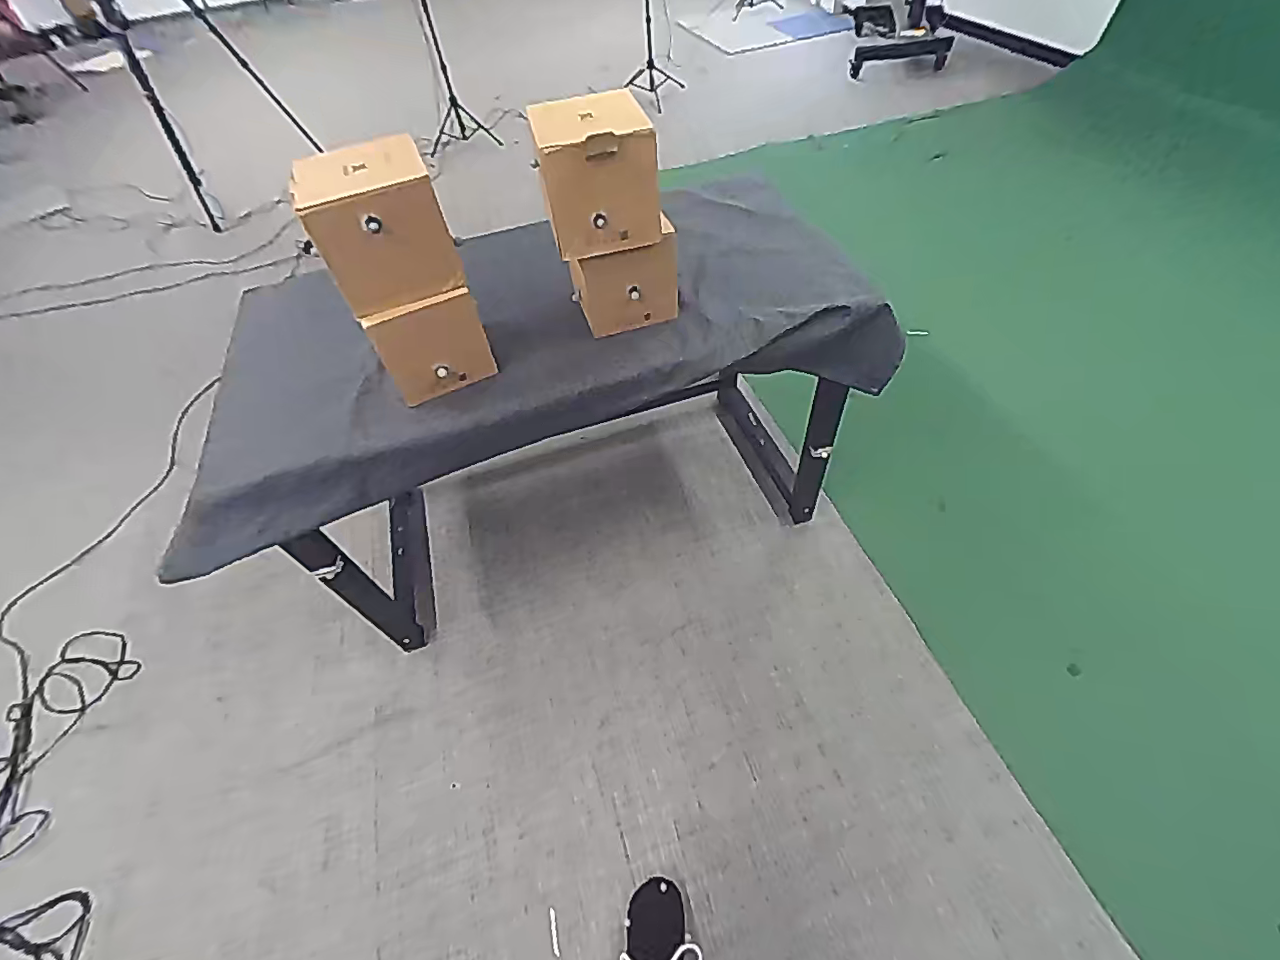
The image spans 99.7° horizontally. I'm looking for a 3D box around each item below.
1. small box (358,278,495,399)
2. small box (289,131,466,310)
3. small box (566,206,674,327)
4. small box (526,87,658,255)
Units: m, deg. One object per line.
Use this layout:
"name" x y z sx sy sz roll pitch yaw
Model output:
"small box" -0.368 -0.269 0.920 0.168 0.176 0.179 -25 55 -13
"small box" -0.382 -0.380 0.801 0.179 0.176 0.168 -21 55 -12
"small box" -0.040 -0.401 0.990 0.168 0.176 0.179 -17 53 -7
"small box" -0.073 -0.484 0.851 0.168 0.176 0.179 -14 53 -5
